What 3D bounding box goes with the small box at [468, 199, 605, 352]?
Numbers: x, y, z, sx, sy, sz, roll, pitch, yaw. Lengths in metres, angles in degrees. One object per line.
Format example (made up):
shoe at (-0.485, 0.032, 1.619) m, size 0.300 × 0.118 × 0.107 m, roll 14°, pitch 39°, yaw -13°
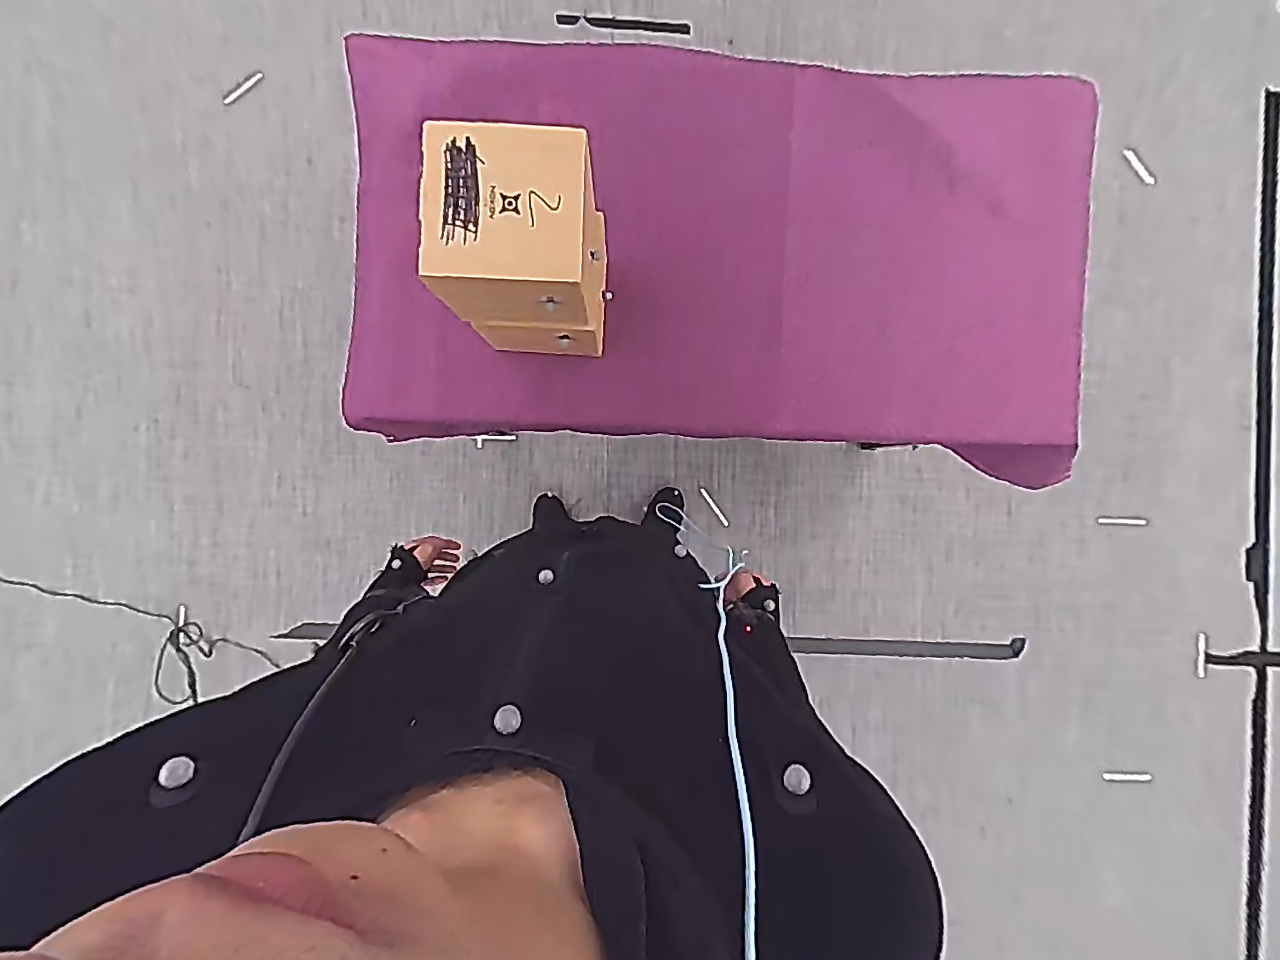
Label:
small box at (-0.144, -0.293, 0.813) m, size 0.179 × 0.176 × 0.168 m, roll 4°, pitch 91°, yaw -2°
